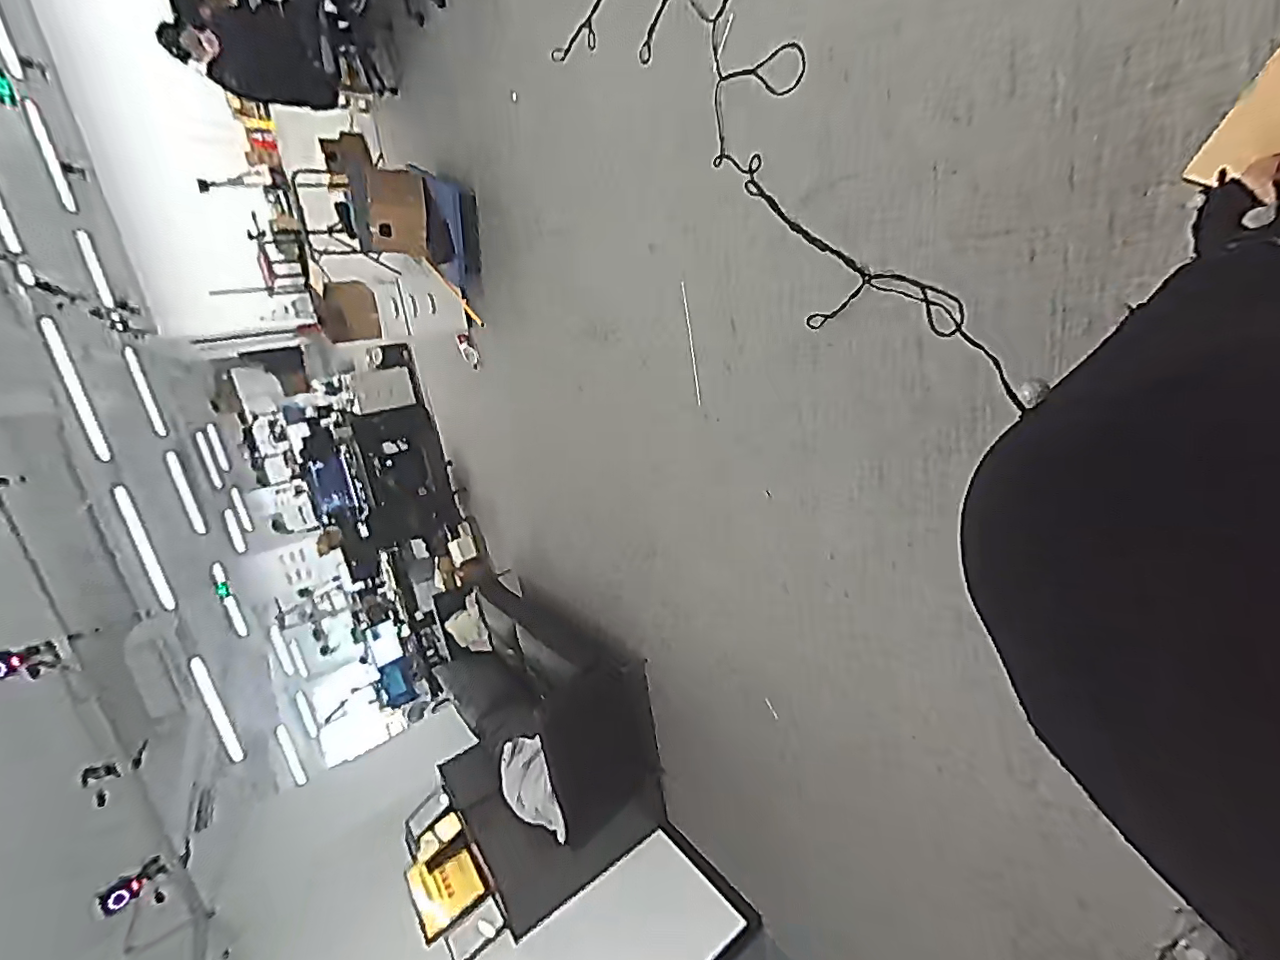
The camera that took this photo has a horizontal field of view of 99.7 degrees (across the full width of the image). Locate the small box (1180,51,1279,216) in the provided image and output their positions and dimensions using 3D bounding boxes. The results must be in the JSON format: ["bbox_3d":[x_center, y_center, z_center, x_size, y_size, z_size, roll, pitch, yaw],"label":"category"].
[{"bbox_3d":[0.652,-0.320,0.475,0.168,0.179,0.176,47,139,35],"label":"small box"}]
